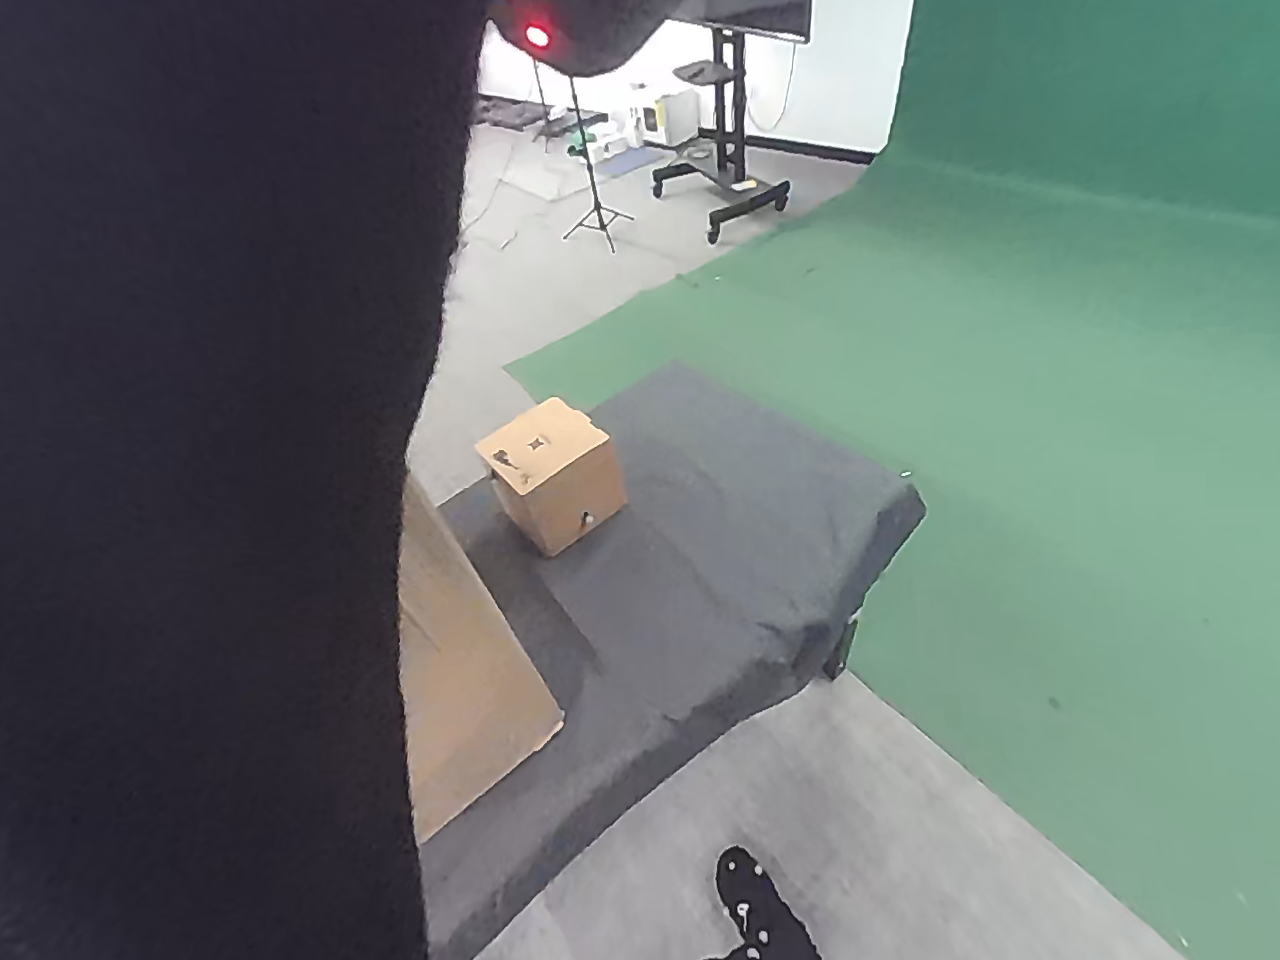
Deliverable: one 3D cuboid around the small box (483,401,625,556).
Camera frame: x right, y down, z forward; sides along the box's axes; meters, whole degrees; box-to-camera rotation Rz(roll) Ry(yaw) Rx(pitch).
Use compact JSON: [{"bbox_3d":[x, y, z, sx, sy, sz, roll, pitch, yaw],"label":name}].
[{"bbox_3d":[-0.140,-0.003,0.953,0.179,0.176,0.168,-36,50,-20],"label":"small box"}]
